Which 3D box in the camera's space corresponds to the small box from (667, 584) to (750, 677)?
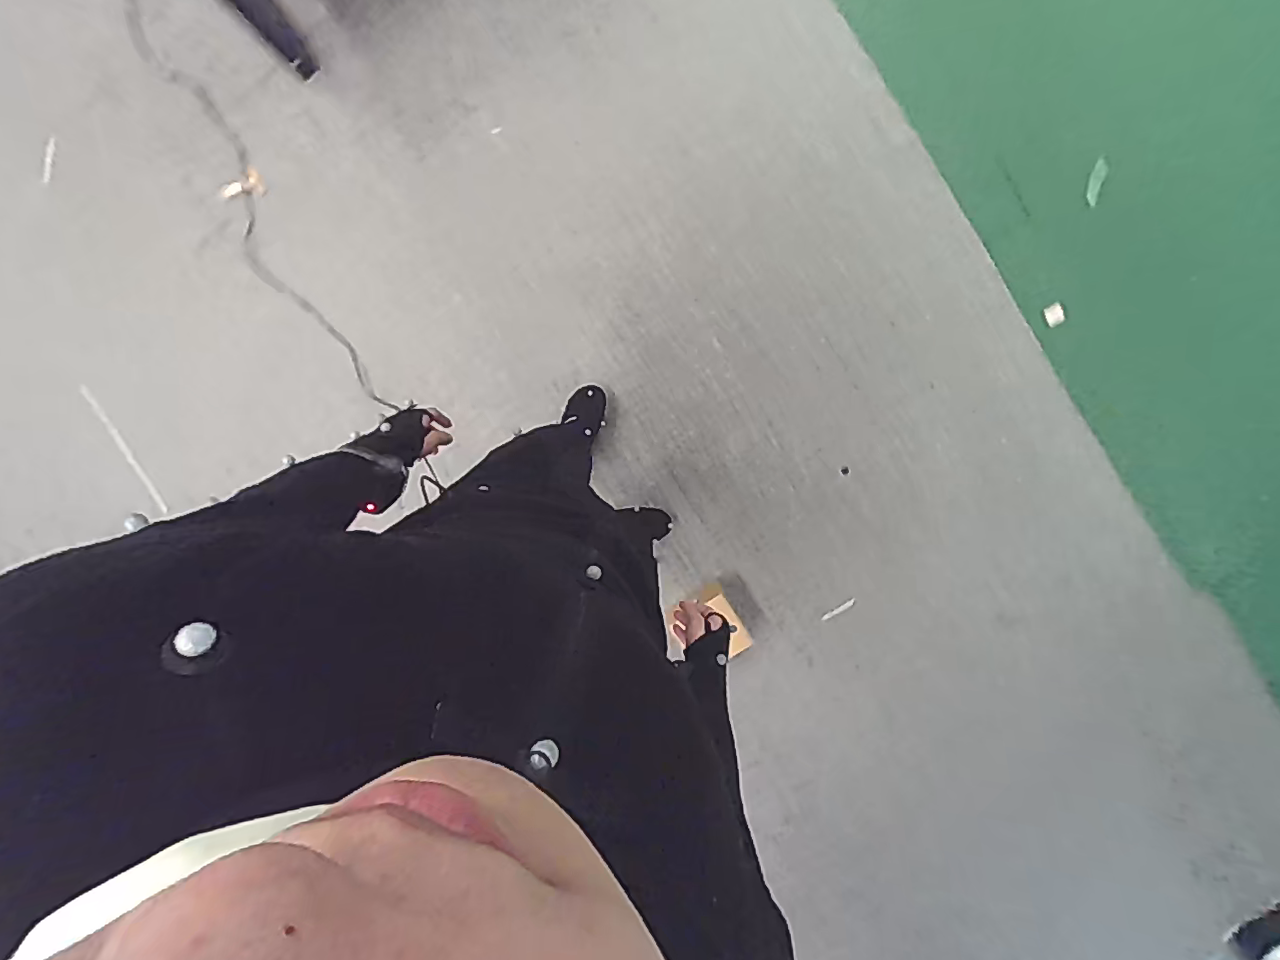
[{"bbox_3d":[0.189,0.422,1.547,0.179,0.176,0.168,-32,91,5],"label":"small box"}]
